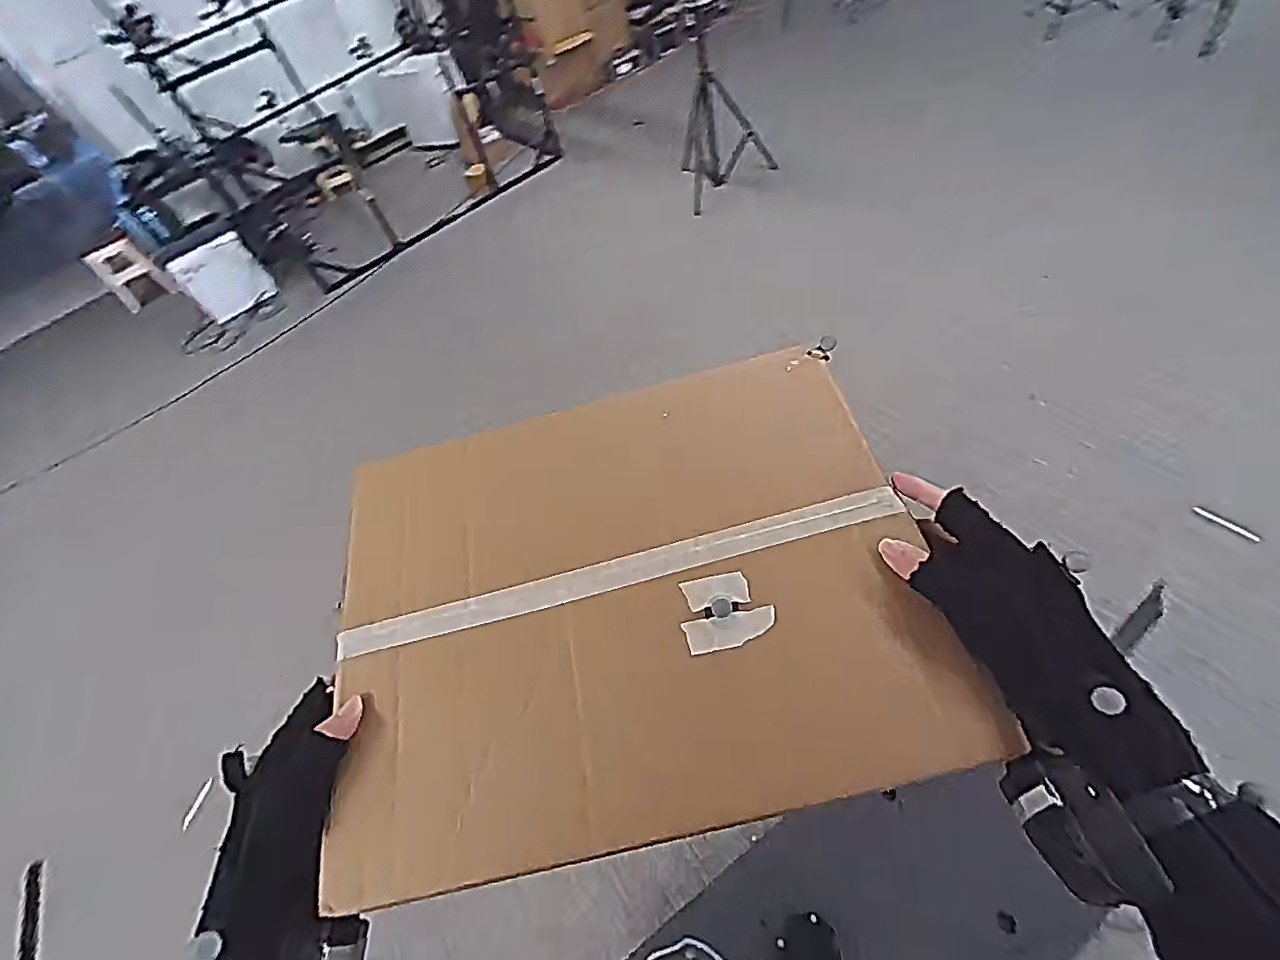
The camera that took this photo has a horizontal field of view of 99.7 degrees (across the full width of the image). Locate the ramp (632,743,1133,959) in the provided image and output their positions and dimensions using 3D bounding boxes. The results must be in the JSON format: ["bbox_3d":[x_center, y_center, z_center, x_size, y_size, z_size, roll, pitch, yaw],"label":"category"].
[{"bbox_3d":[0.483,0.911,1.105,0.991,0.206,0.509,-37,50,-13],"label":"ramp"}]

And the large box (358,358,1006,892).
[{"bbox_3d":[0.016,0.145,0.520,0.408,0.320,0.320,-14,59,3],"label":"large box"}]
